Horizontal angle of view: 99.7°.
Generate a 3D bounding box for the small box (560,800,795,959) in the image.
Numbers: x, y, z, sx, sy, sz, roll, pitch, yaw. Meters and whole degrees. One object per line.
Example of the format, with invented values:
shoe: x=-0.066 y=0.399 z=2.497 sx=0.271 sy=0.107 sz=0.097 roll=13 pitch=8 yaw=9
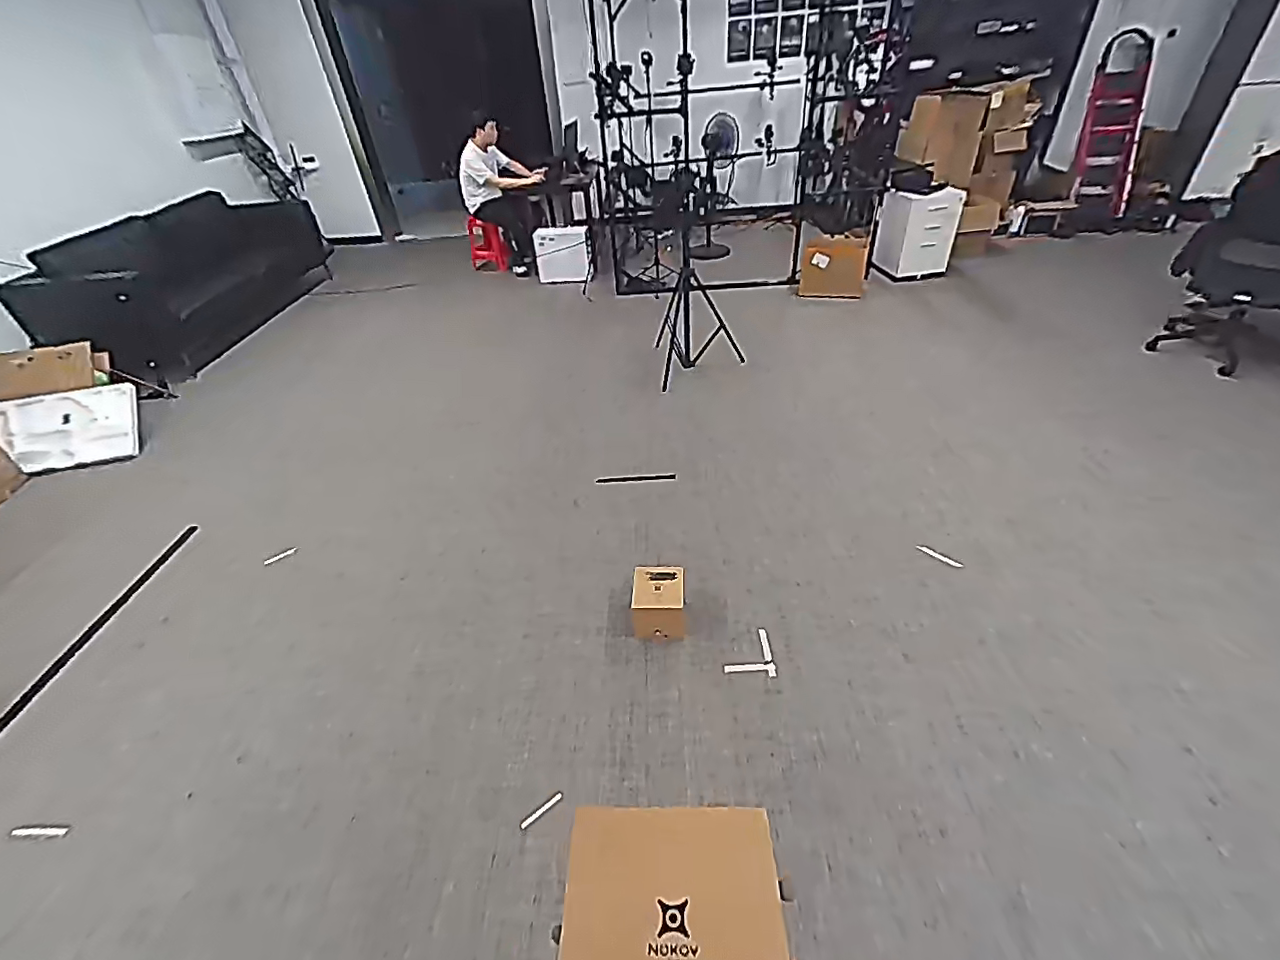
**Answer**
small box: x=0.032 y=0.390 z=0.434 sx=0.168 sy=0.176 sz=0.179 roll=-3 pitch=32 yaw=5
